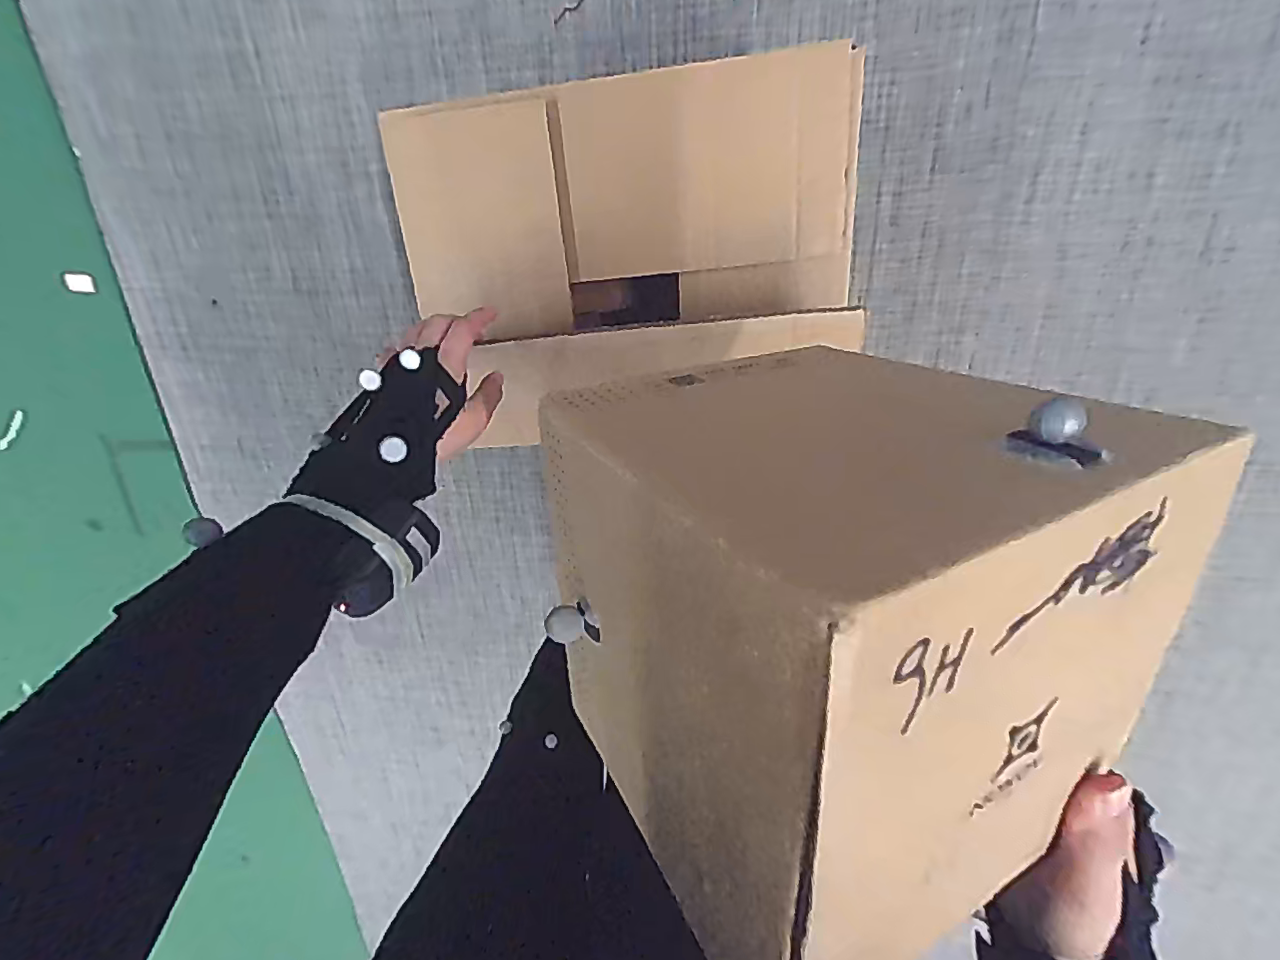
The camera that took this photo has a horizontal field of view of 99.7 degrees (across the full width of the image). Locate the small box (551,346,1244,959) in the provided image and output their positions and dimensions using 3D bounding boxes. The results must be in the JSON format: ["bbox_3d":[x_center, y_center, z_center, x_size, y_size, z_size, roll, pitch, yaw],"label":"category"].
[{"bbox_3d":[0.071,0.052,0.228,0.168,0.176,0.179,-14,117,-25],"label":"small box"}]
